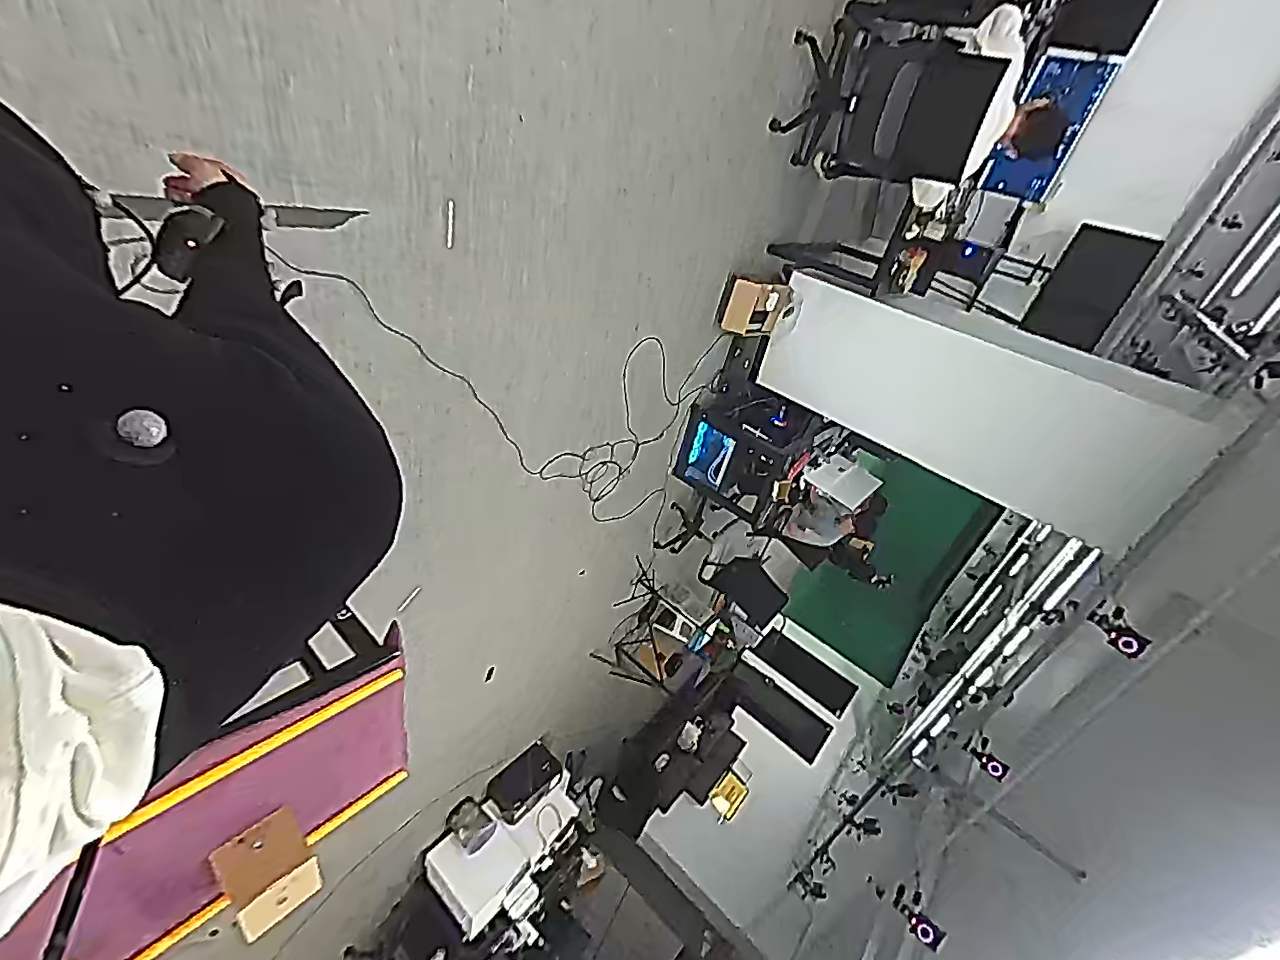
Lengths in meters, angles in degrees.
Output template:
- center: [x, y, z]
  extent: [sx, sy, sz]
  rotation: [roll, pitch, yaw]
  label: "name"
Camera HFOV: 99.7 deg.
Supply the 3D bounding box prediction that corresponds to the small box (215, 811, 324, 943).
- center: [-0.910, 0.968, 1.333]
  extent: [0.168, 0.176, 0.179]
  rotation: [-25, 137, -46]
  label: "small box"
